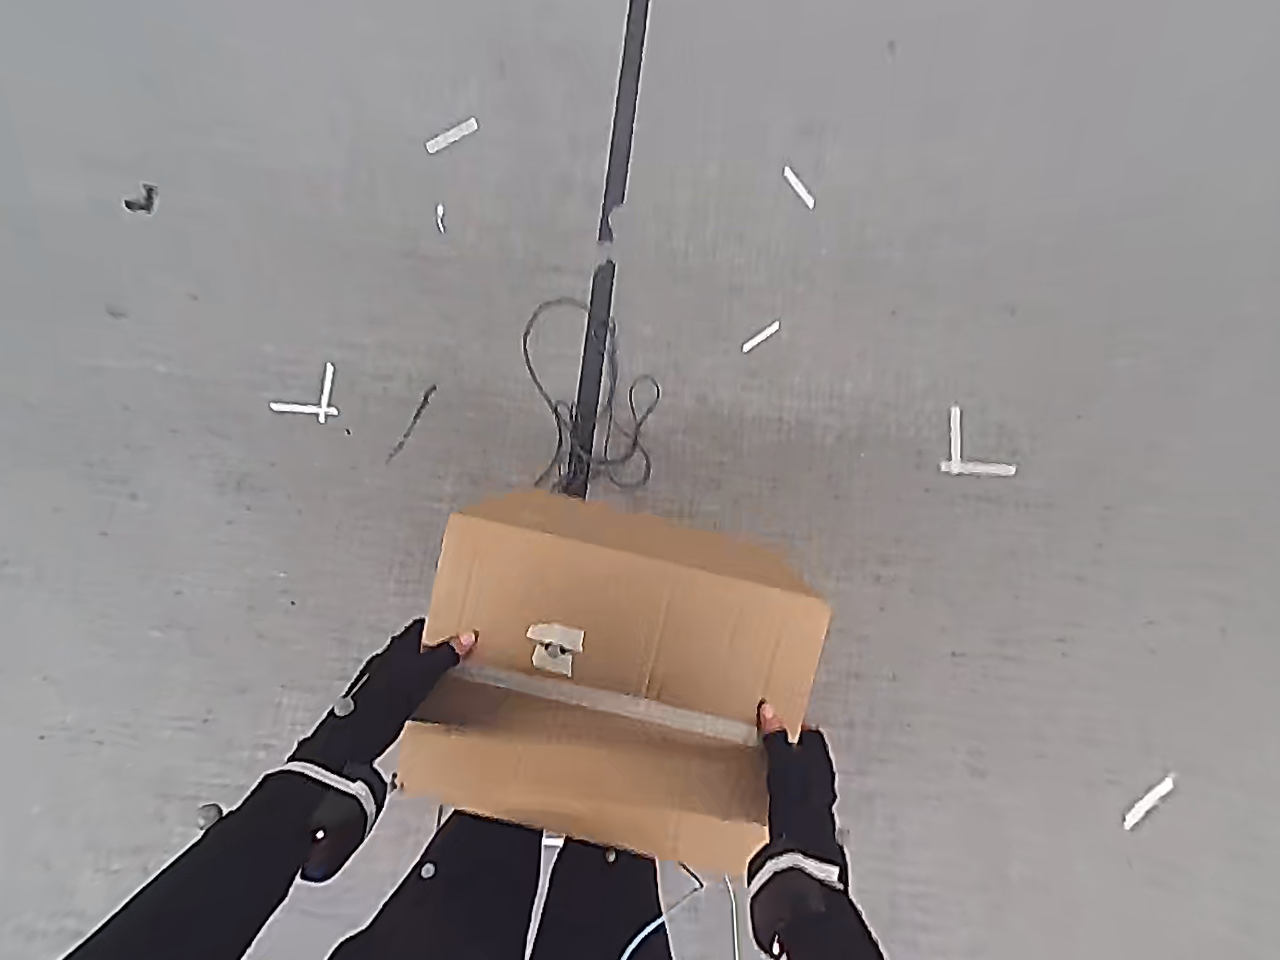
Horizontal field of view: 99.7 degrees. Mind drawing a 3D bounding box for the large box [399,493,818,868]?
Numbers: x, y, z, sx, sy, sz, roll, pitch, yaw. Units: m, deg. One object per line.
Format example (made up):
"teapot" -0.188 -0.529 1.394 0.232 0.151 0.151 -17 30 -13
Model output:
"large box" -0.030 0.217 0.723 0.408 0.320 0.320 14 93 2
